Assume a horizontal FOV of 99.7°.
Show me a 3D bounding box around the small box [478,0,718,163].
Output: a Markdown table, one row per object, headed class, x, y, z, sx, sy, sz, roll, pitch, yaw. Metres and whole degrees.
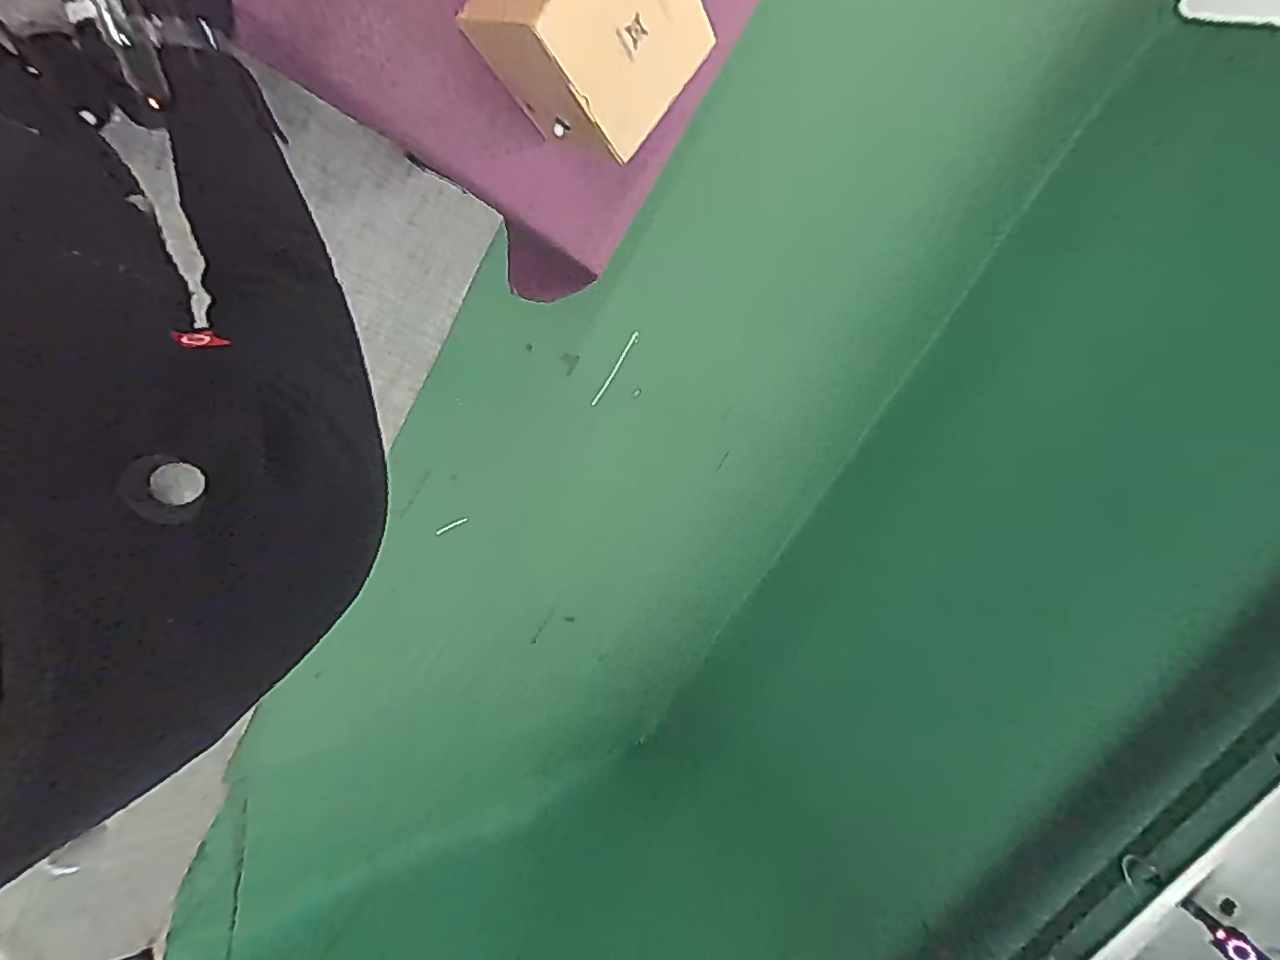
| class | x | y | z | sx | sy | sz | roll | pitch | yaw |
| --- | --- | --- | --- | --- | --- | --- | --- | --- | --- |
| small box | -0.052 | -0.498 | 0.598 | 0.179 | 0.176 | 0.168 | -52 | 145 | 3 |
